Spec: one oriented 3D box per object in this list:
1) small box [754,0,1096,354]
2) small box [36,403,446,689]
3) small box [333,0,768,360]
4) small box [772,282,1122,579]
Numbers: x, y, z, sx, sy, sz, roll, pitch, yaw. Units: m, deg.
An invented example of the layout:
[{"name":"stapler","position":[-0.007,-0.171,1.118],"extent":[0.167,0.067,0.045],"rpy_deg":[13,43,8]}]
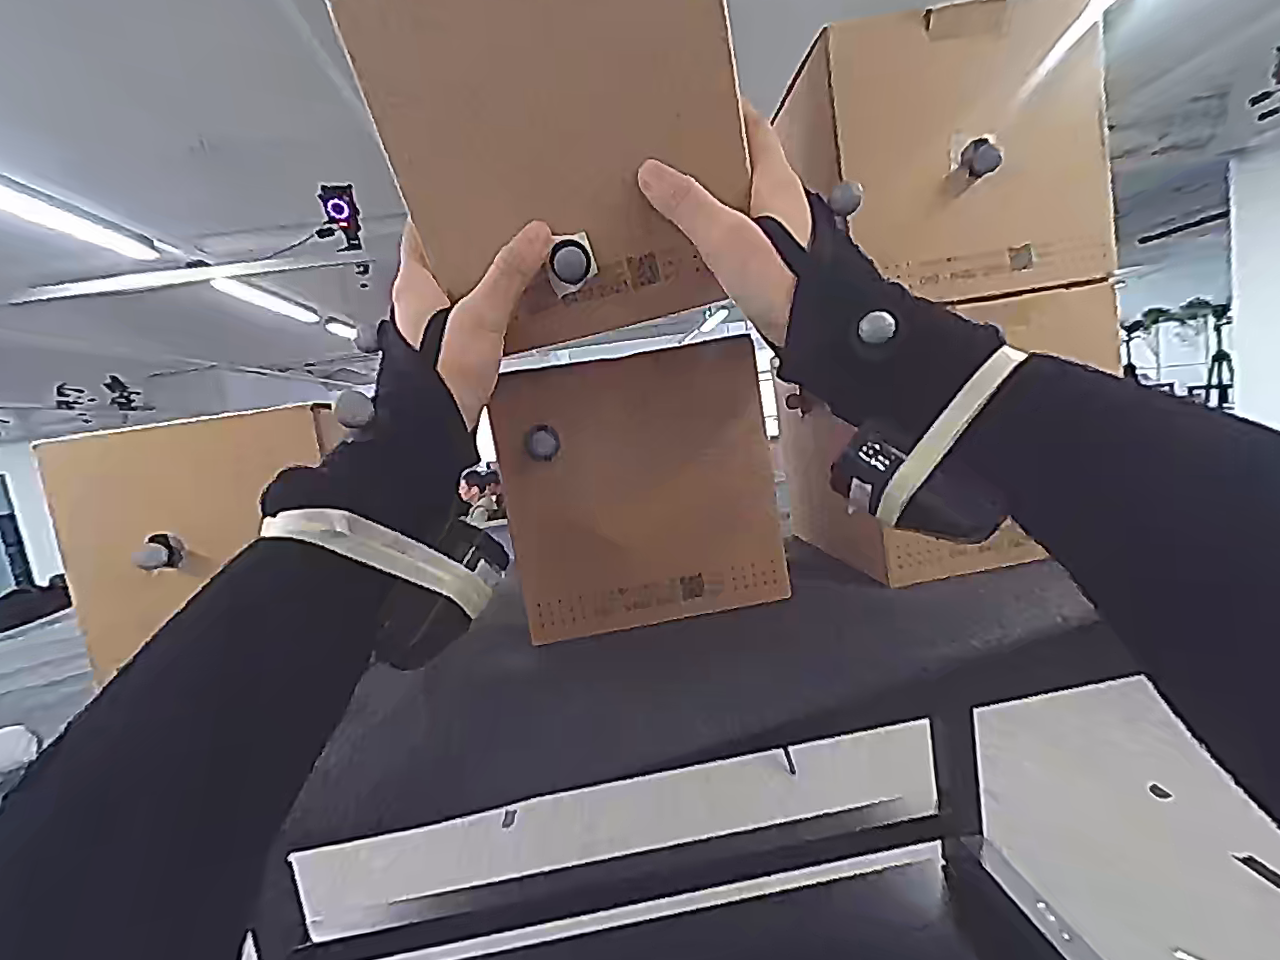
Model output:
[{"name":"small box","position":[0.191,-0.196,0.401],"extent":[0.168,0.176,0.179],"rpy_deg":[-9,6,-2]},{"name":"small box","position":[-0.261,0.042,0.405],"extent":[0.168,0.176,0.179],"rpy_deg":[-9,5,-2]},{"name":"small box","position":[-0.033,-0.181,0.323],"extent":[0.168,0.176,0.179],"rpy_deg":[-15,24,4]},{"name":"small box","position":[0.215,-0.034,0.417],"extent":[0.168,0.176,0.179],"rpy_deg":[-11,6,-3]}]
